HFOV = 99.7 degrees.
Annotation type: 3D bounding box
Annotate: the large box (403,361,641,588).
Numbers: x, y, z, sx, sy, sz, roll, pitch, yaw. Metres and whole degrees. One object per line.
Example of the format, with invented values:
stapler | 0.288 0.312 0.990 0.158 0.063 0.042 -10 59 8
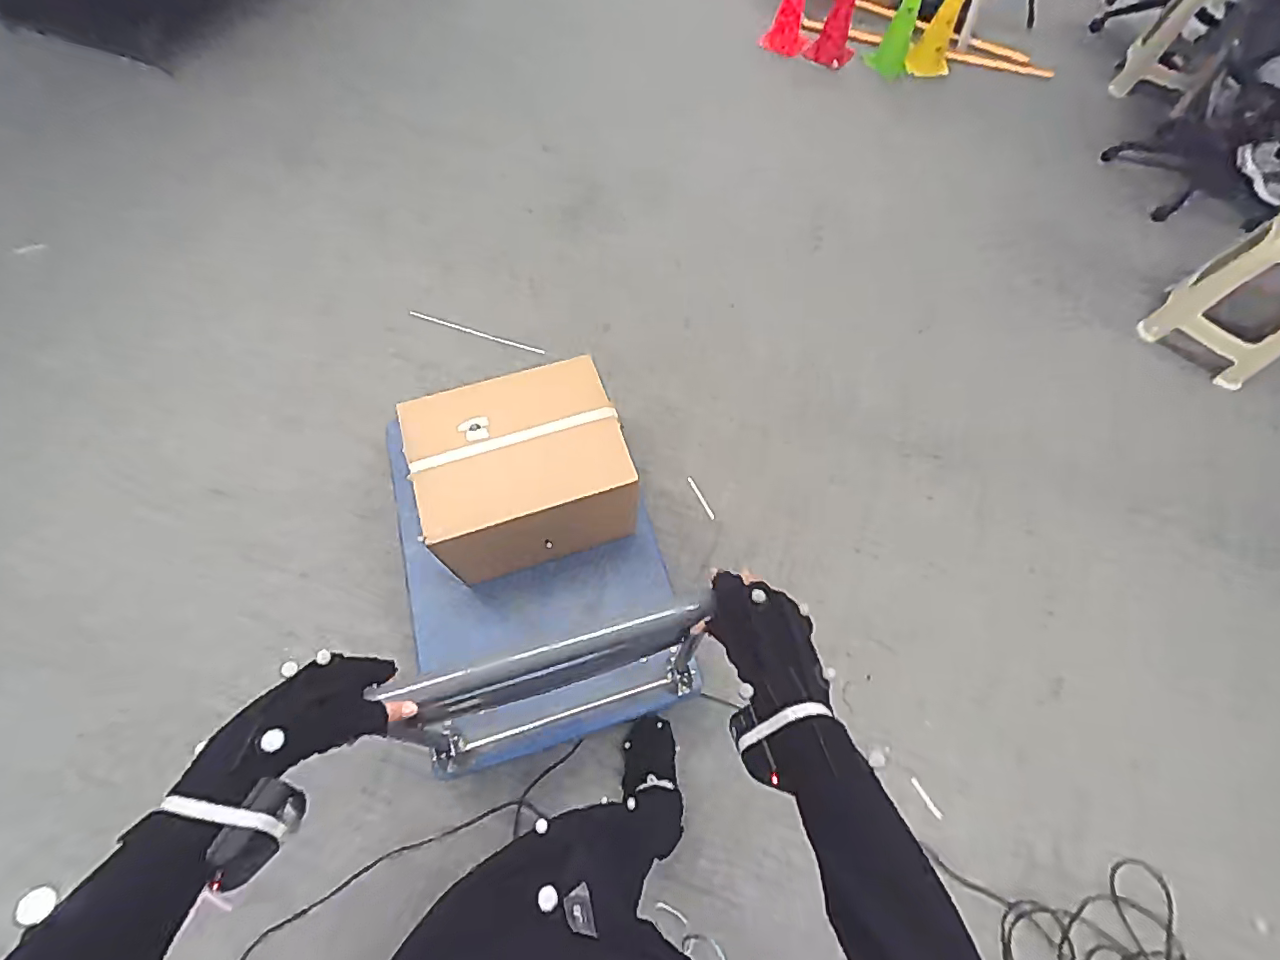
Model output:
large box | -0.238 -0.001 1.189 0.408 0.320 0.320 -18 67 -10
